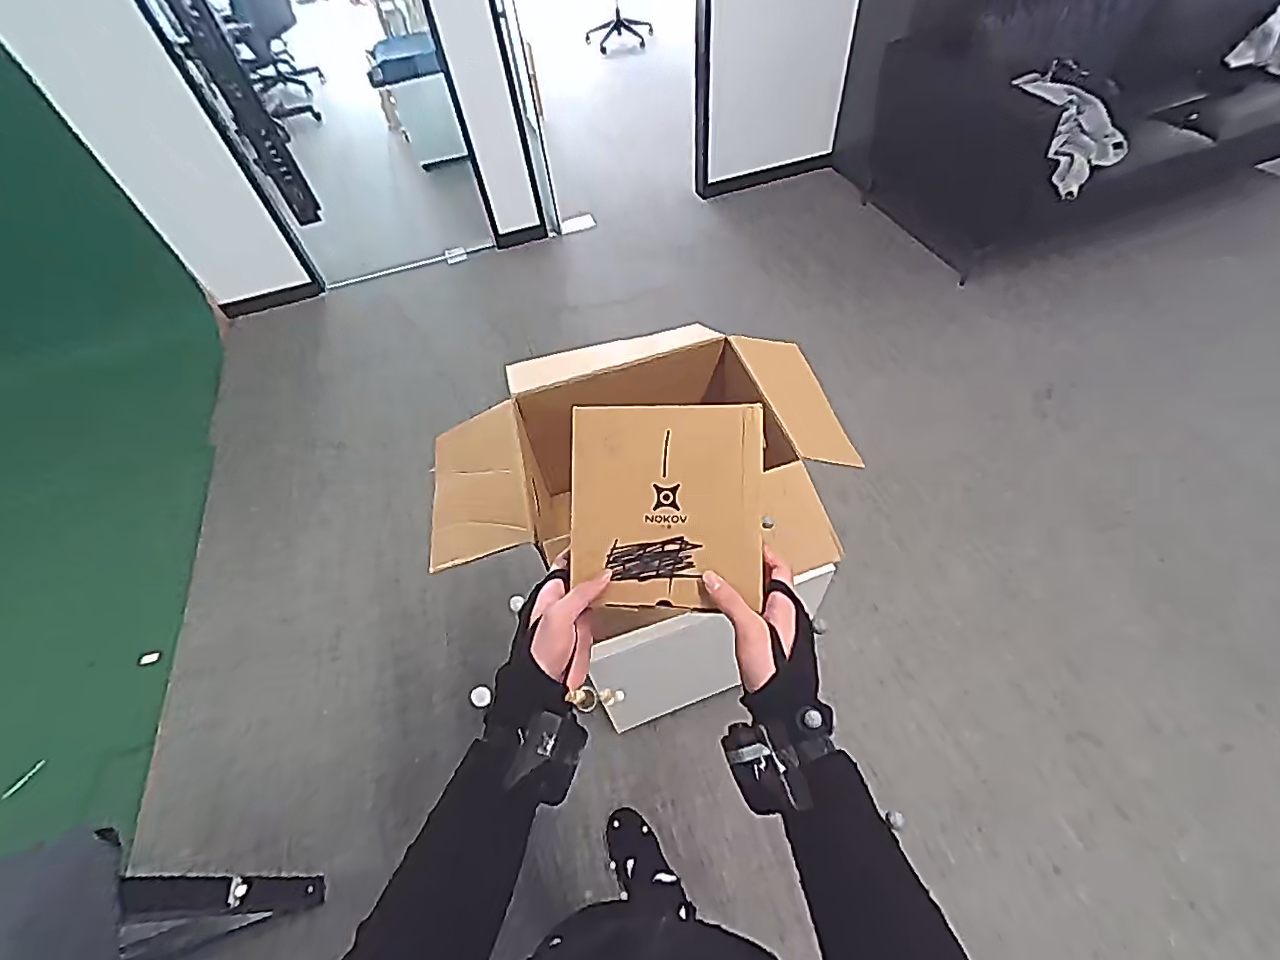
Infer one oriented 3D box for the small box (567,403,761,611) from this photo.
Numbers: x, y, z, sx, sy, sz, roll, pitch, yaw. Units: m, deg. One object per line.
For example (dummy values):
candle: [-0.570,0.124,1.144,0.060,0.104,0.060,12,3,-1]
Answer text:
small box: [0.030,0.023,0.544,0.168,0.176,0.179,2,88,7]
